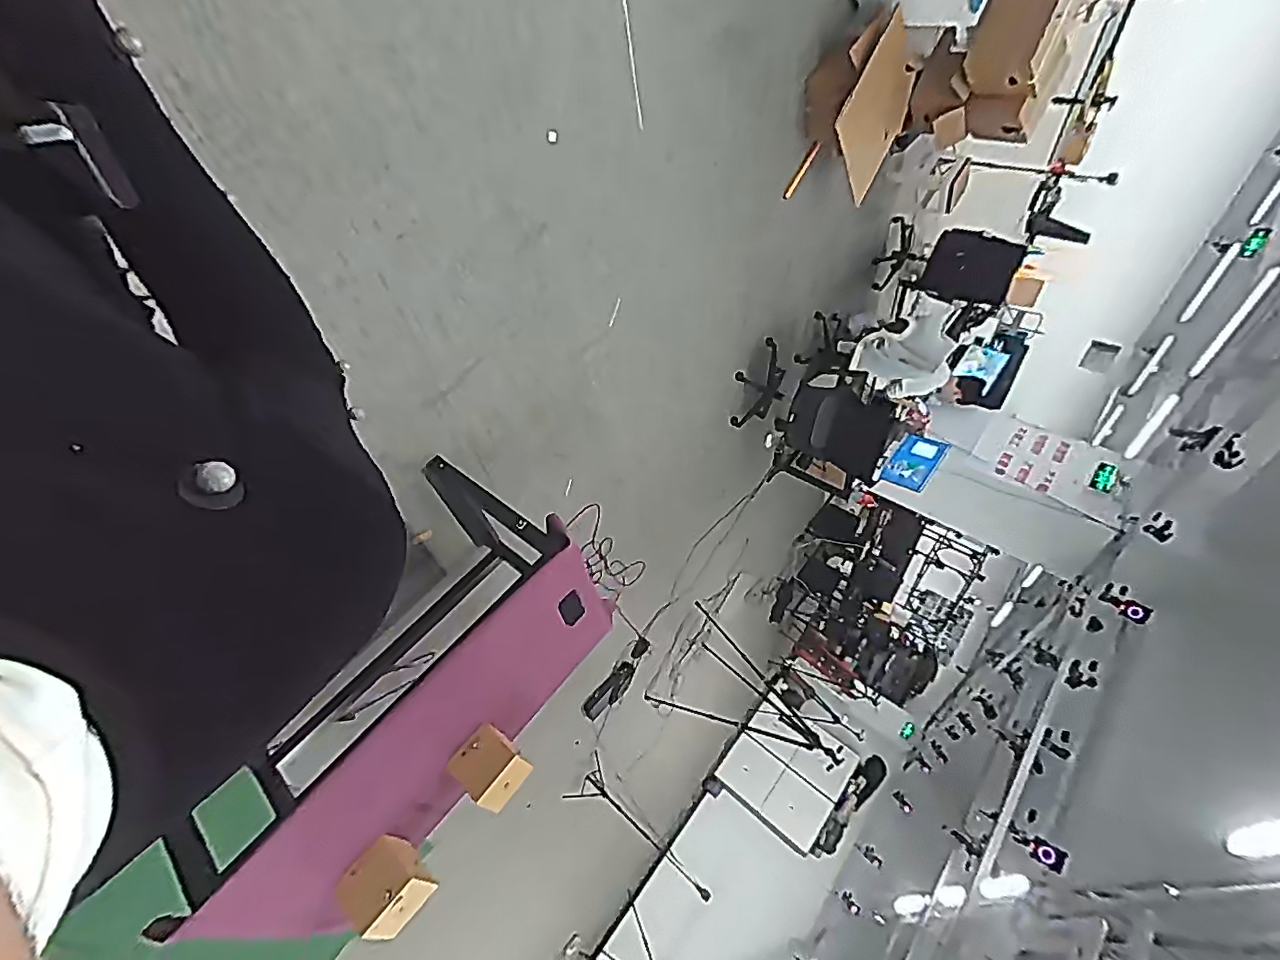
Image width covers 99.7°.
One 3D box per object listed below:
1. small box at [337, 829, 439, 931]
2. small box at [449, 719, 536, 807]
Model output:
[{"bbox_3d":[-0.715,1.136,1.539,0.168,0.176,0.179,-45,147,-25],"label":"small box"},{"bbox_3d":[-0.462,0.885,1.697,0.168,0.176,0.179,-46,146,-23],"label":"small box"}]
